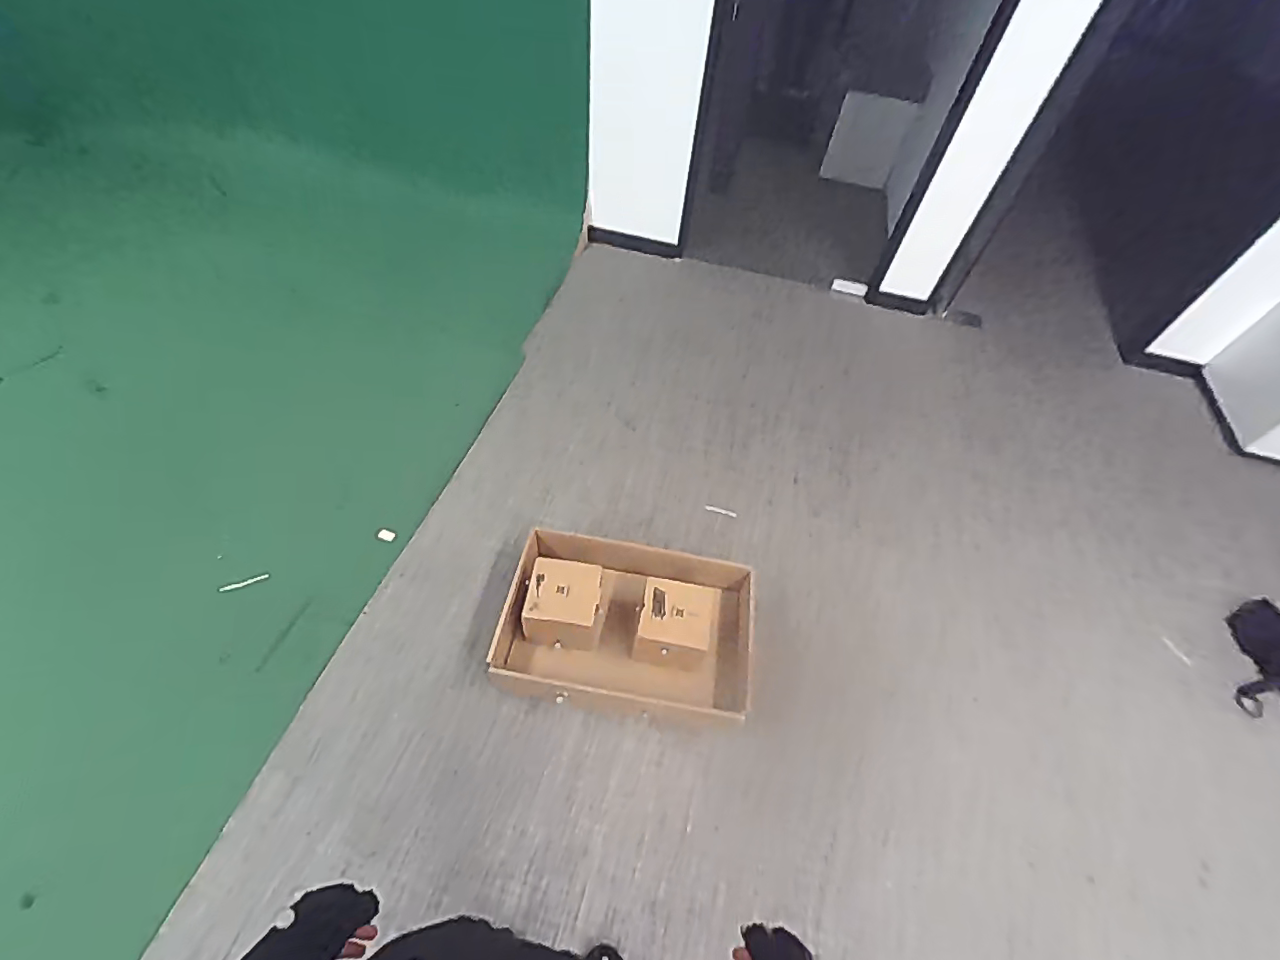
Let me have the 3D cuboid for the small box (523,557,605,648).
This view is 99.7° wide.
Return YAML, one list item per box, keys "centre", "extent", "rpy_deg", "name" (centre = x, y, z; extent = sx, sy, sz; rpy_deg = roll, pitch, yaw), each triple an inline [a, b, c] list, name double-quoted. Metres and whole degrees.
- centre: [-0.195, 0.323, 1.401]
  extent: [0.179, 0.176, 0.168]
  rpy_deg: [9, 51, -2]
  name: "small box"

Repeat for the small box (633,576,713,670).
- centre: [0.082, 0.372, 1.395]
  extent: [0.179, 0.176, 0.168]
  rpy_deg: [11, 52, 2]
  name: "small box"
